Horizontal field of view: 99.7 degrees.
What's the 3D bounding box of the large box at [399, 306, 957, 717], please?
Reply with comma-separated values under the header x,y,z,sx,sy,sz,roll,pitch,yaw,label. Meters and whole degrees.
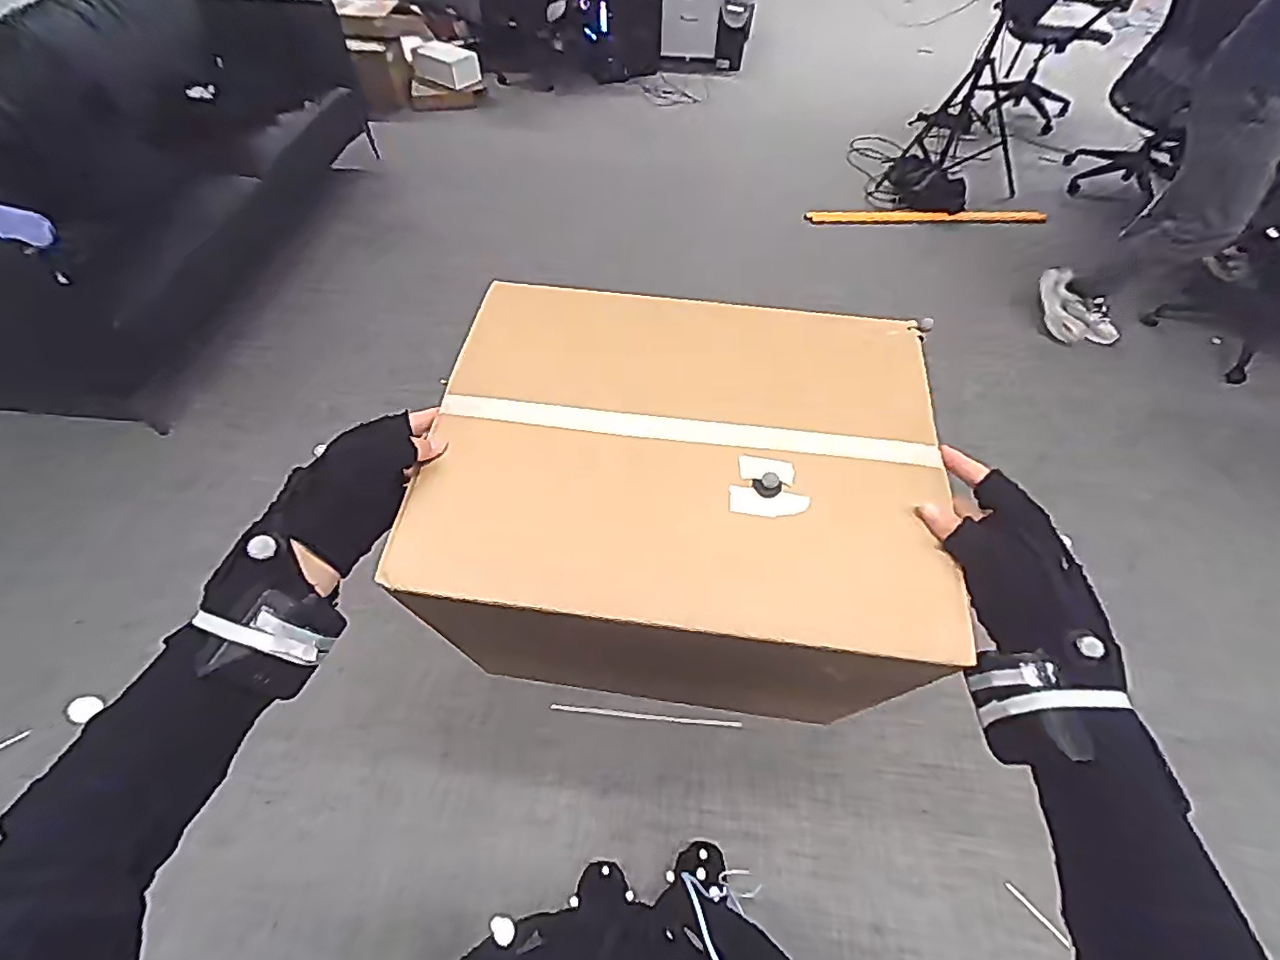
x,y,z,sx,sy,sz,roll,pitch,yaw,label
0.036,0.049,0.581,0.408,0.320,0.320,6,60,4,large box
